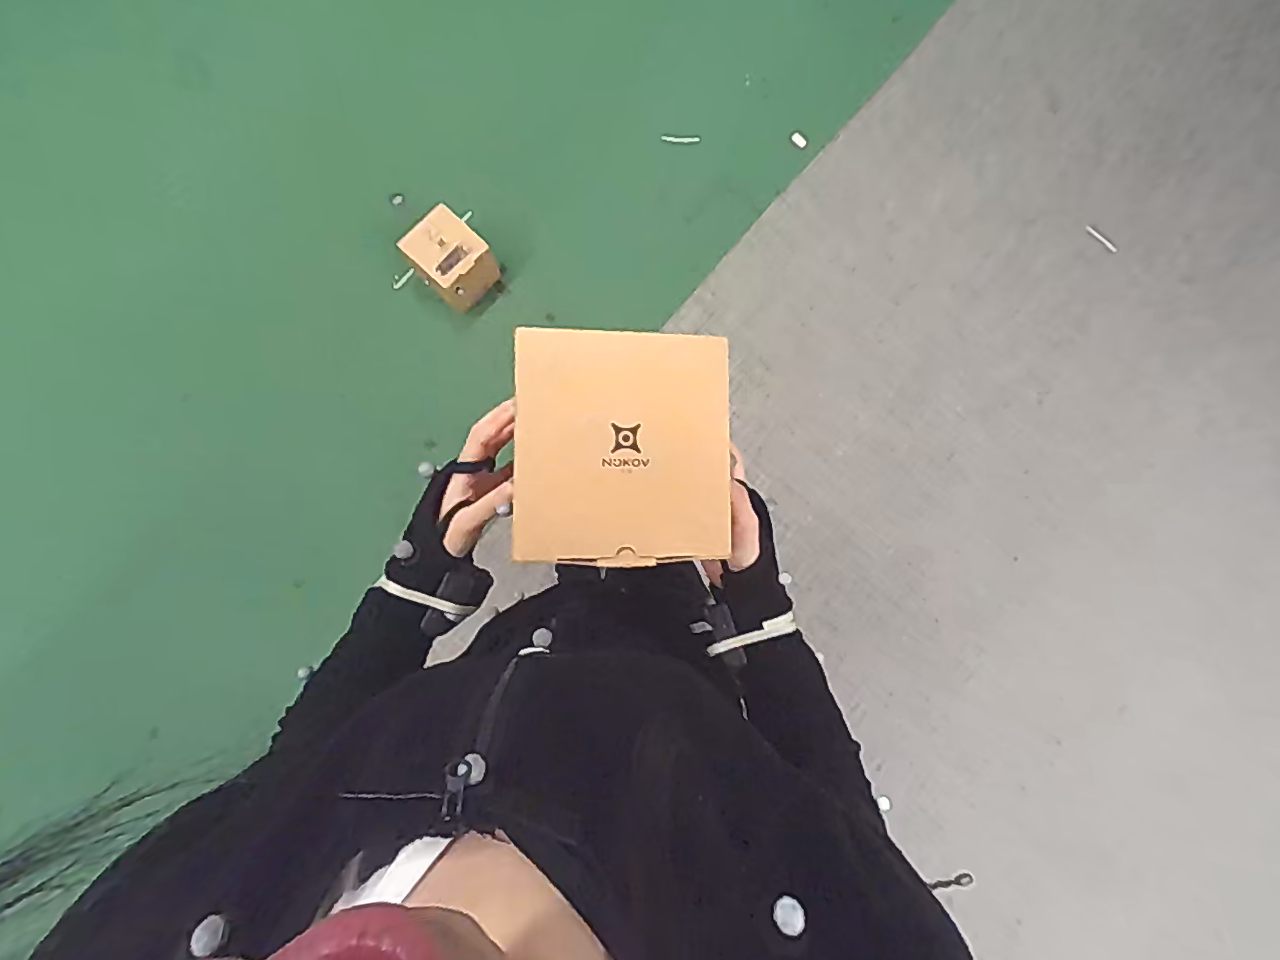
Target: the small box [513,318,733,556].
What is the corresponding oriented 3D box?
[{"bbox_3d":[-0.024,-0.025,0.479,0.168,0.176,0.179,0,86,-10],"label":"small box"}]
